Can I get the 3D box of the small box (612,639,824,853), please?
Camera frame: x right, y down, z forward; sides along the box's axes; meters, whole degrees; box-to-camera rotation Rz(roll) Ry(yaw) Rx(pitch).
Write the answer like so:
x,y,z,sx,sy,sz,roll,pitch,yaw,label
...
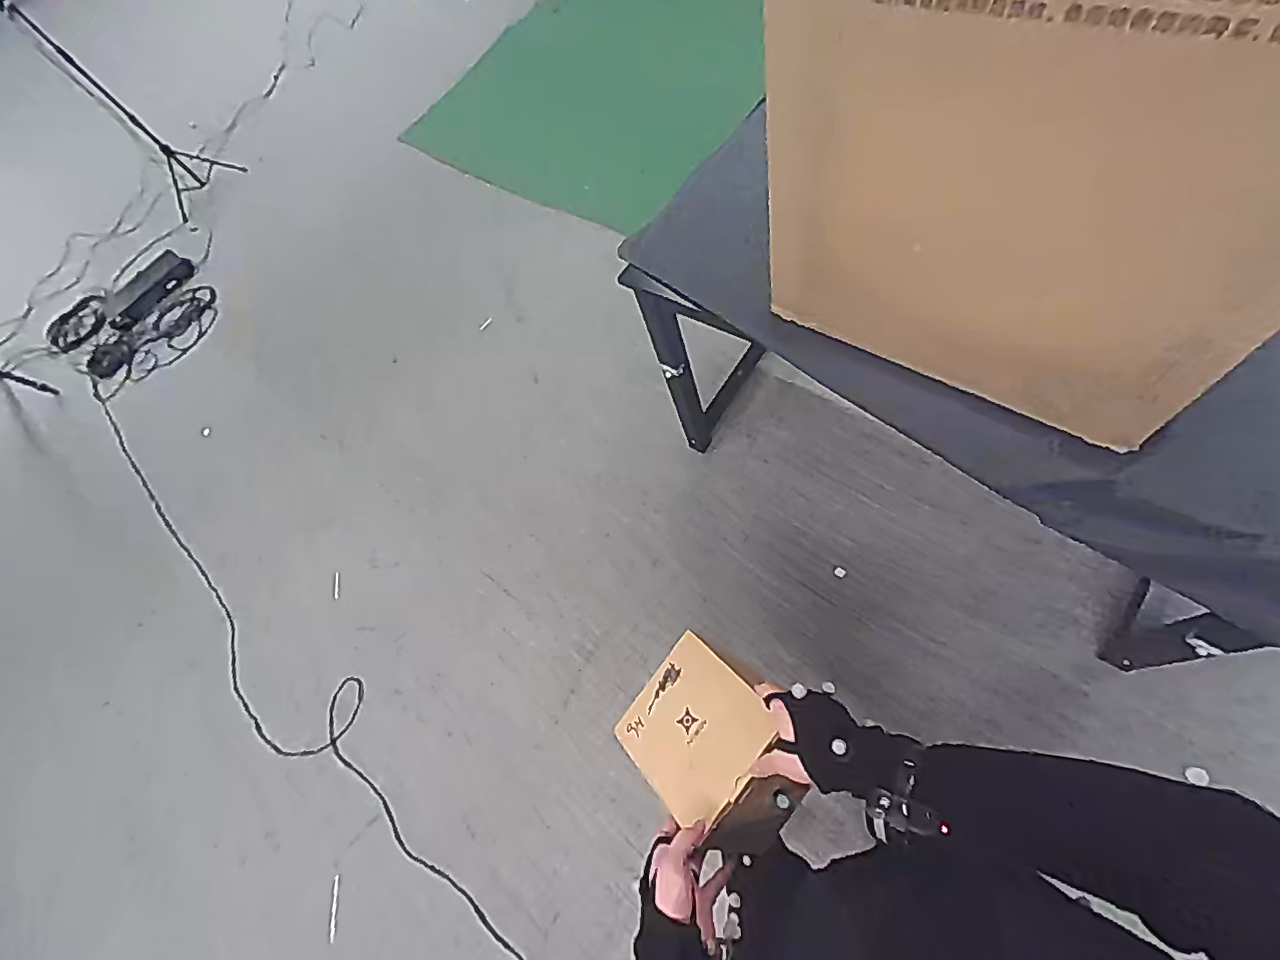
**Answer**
x,y,z,sx,sy,sz,roll,pitch,yaw,label
0.104,0.341,0.700,0.168,0.176,0.179,-53,41,-2,small box
